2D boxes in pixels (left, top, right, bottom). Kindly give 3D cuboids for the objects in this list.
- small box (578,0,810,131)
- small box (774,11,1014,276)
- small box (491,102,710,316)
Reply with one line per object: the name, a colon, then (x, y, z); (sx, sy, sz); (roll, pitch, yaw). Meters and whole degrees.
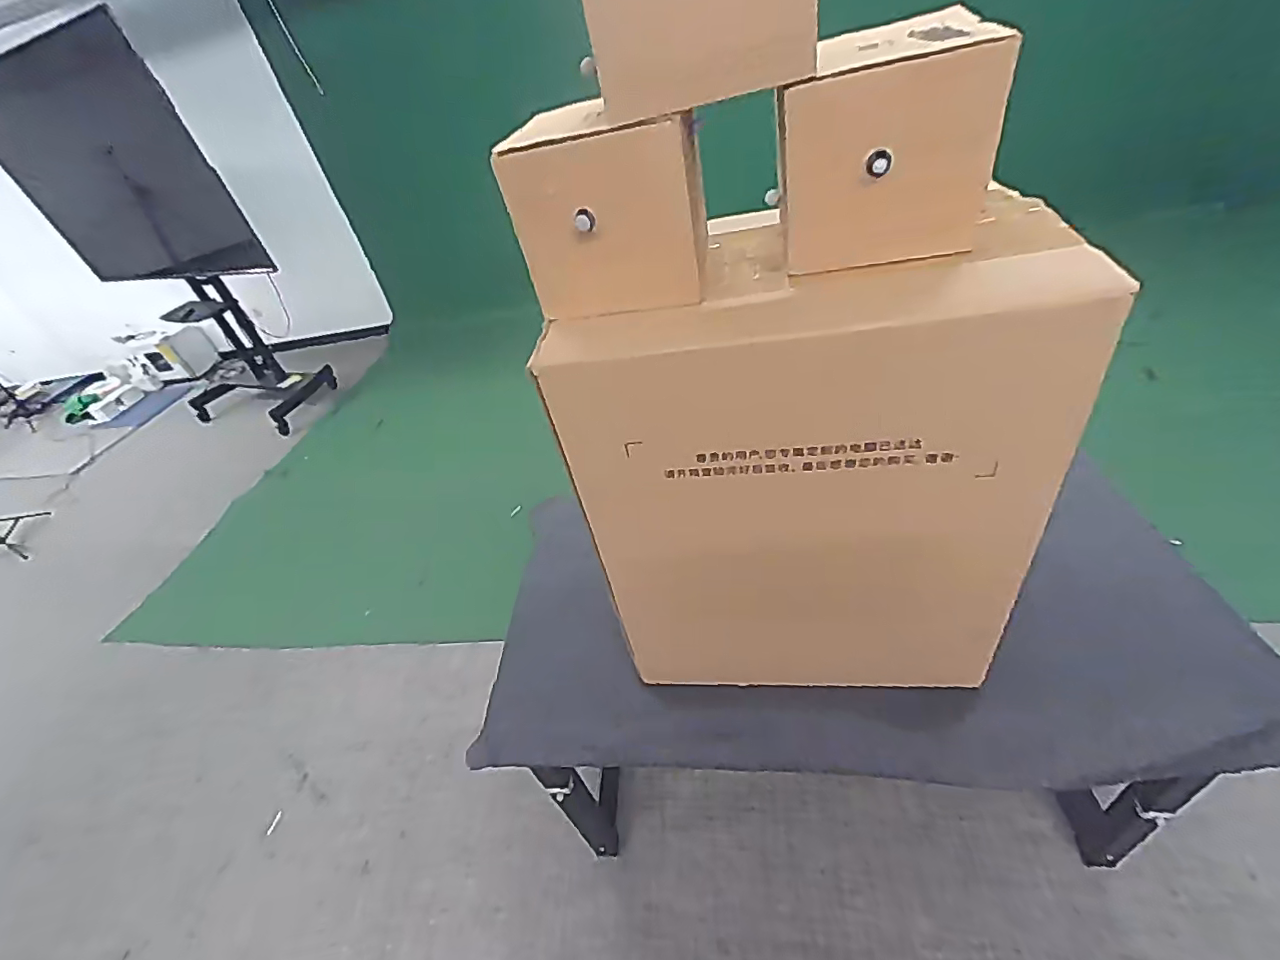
small box: (0.038, -0.418, 0.451); (0.179, 0.176, 0.168); (-11, 42, 6)
small box: (0.226, -0.325, 0.536); (0.179, 0.176, 0.168); (-3, 45, 14)
small box: (-0.026, -0.291, 0.578); (0.179, 0.176, 0.168); (-3, 45, 14)
